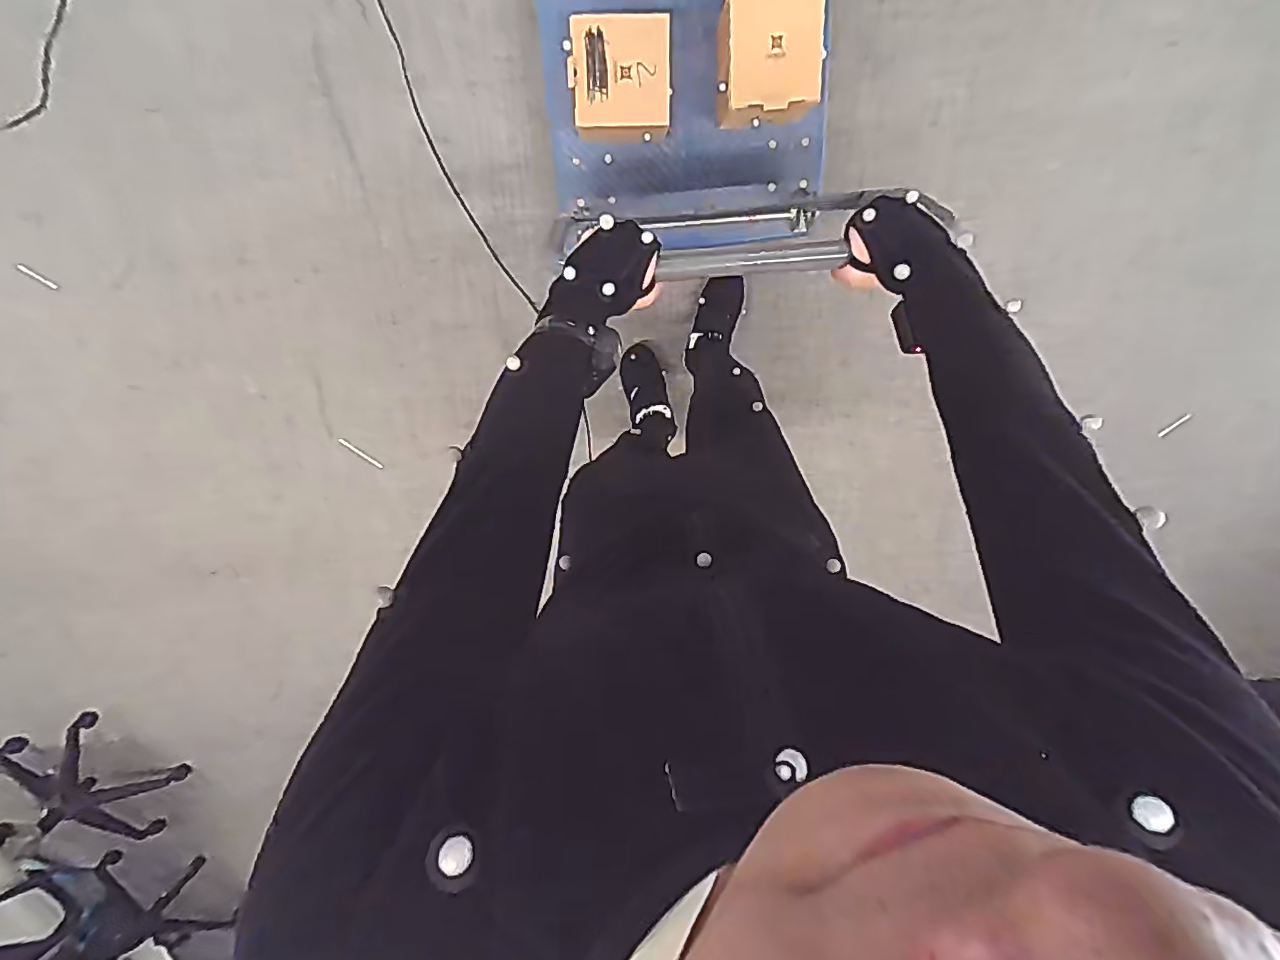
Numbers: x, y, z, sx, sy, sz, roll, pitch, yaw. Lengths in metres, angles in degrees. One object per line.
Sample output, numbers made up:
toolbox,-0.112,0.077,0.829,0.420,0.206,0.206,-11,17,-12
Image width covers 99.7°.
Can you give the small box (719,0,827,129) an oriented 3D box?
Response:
small box,0.243,-0.791,1.025,0.168,0.176,0.179,-4,113,1
